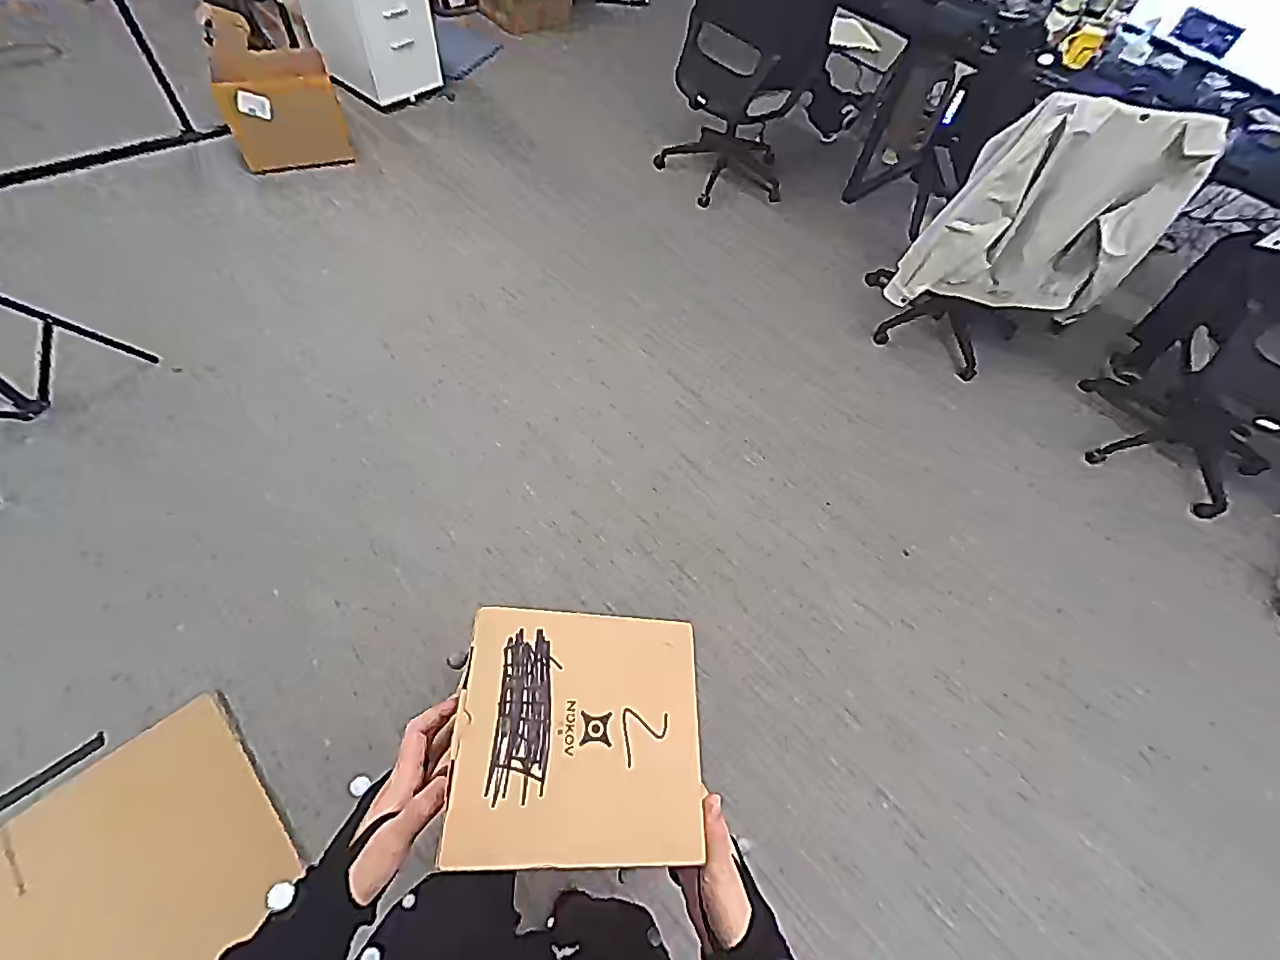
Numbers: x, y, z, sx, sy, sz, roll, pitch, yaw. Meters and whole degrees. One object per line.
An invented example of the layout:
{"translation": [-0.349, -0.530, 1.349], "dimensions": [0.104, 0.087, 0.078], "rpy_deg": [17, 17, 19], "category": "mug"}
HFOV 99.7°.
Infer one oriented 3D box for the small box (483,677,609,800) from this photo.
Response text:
{"translation": [-0.158, 0.462, 0.958], "dimensions": [0.179, 0.176, 0.168], "rpy_deg": [10, 59, -1], "category": "small box"}
